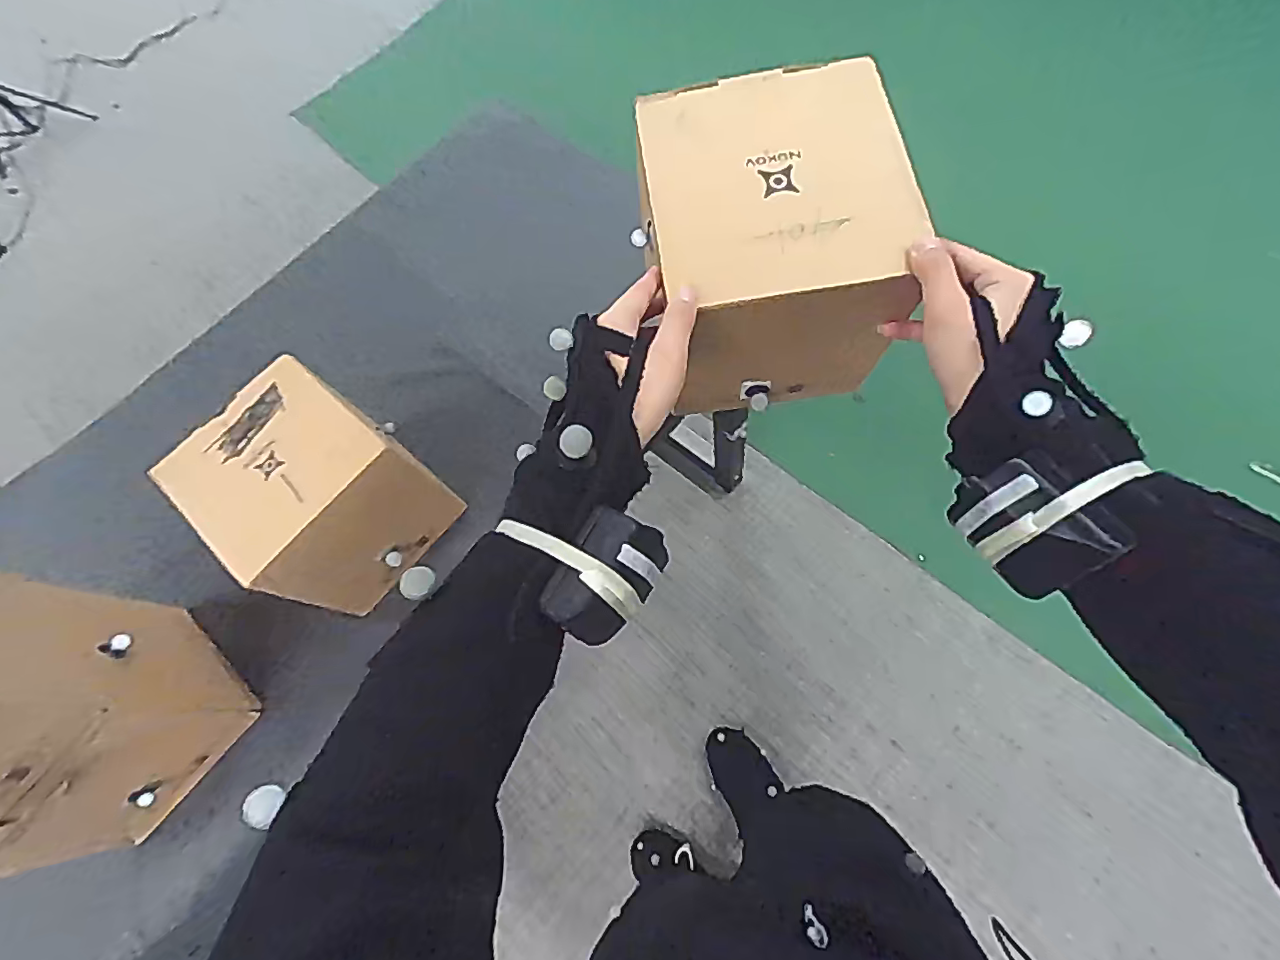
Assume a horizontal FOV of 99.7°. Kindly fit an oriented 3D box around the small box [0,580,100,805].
[{"bbox_3d":[-0.543,0.162,0.366,0.179,0.176,0.168,34,76,18],"label":"small box"}]

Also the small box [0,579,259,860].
[{"bbox_3d":[-0.527,0.226,0.515,0.179,0.176,0.168,35,76,19],"label":"small box"}]

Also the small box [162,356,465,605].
[{"bbox_3d":[-0.325,0.011,0.570,0.179,0.176,0.168,37,78,20],"label":"small box"}]

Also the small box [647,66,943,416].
[{"bbox_3d":[0.097,-0.170,0.425,0.168,0.176,0.179,-7,73,3],"label":"small box"}]
